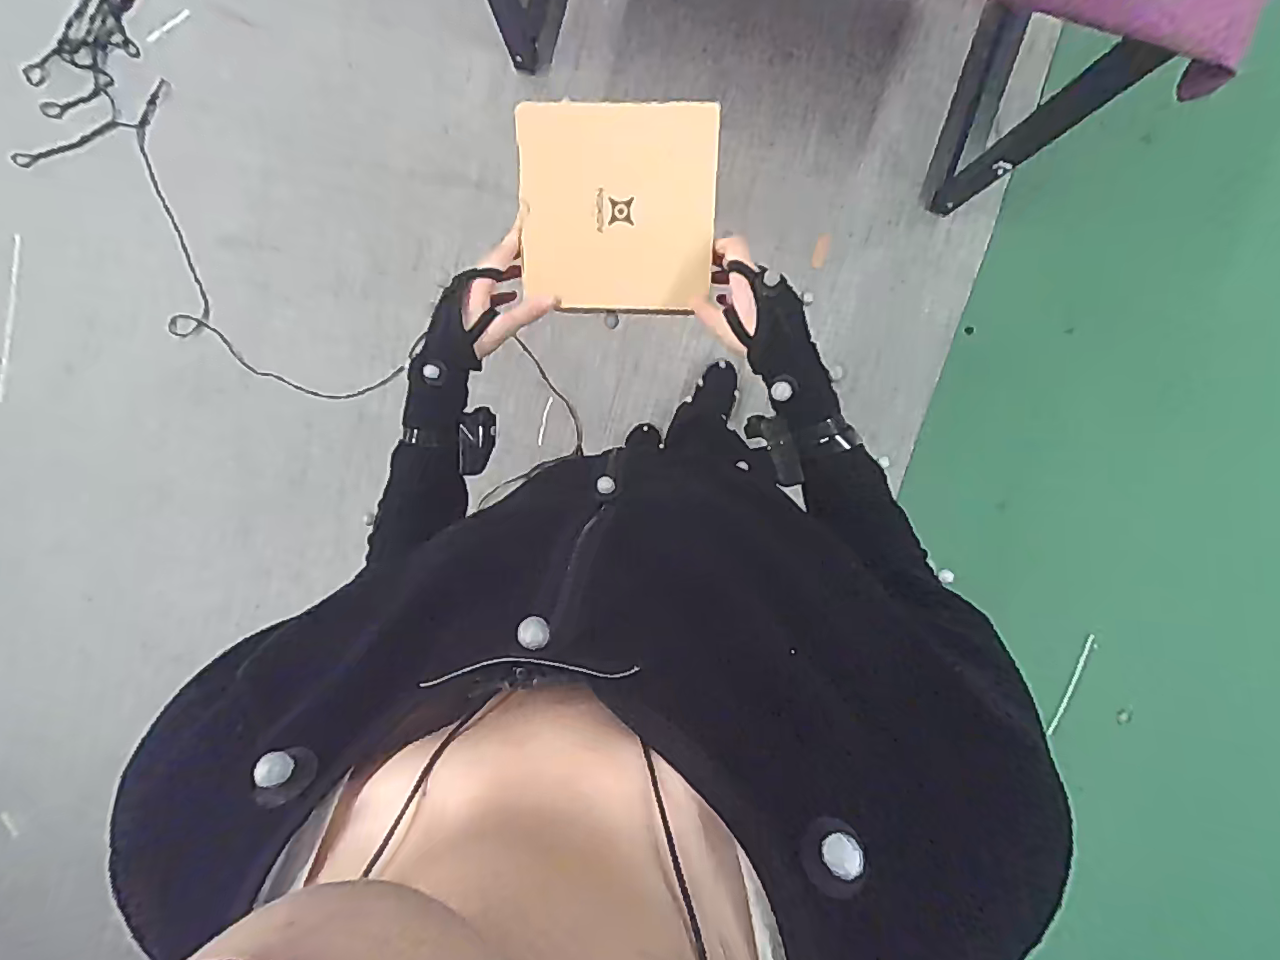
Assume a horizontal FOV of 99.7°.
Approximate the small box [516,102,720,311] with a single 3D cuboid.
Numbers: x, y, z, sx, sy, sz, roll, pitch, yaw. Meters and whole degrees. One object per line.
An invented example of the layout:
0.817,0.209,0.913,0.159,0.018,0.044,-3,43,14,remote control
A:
-0.015,-0.263,0.554,0.179,0.176,0.168,2,106,5,small box
